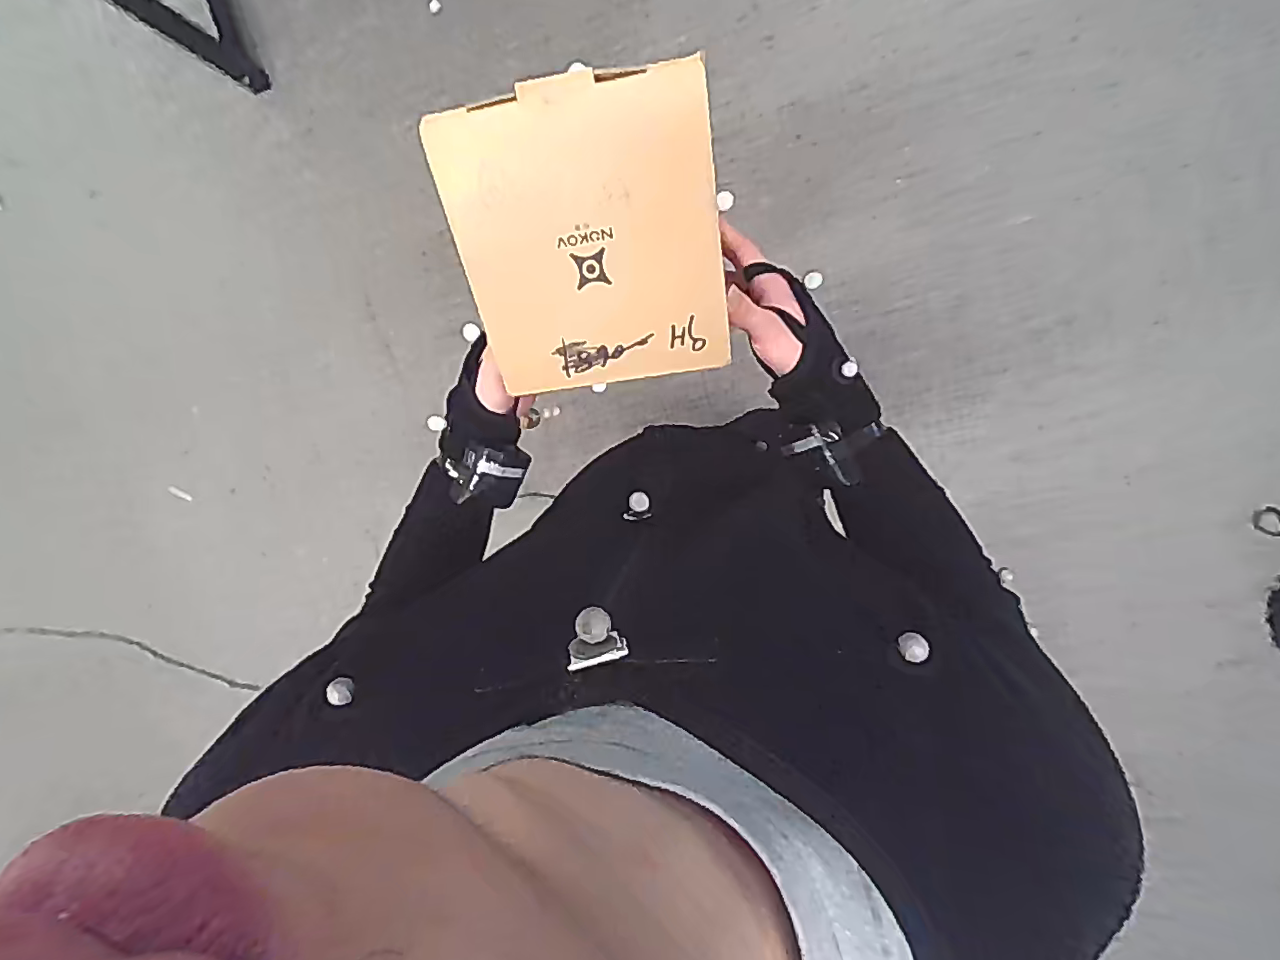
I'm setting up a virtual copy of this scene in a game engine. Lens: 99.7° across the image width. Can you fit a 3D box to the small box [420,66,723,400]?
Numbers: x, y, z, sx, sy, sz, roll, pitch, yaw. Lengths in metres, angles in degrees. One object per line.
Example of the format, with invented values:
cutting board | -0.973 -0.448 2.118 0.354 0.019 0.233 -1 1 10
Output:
small box | -0.030 -0.181 0.411 0.168 0.176 0.179 -6 121 10
